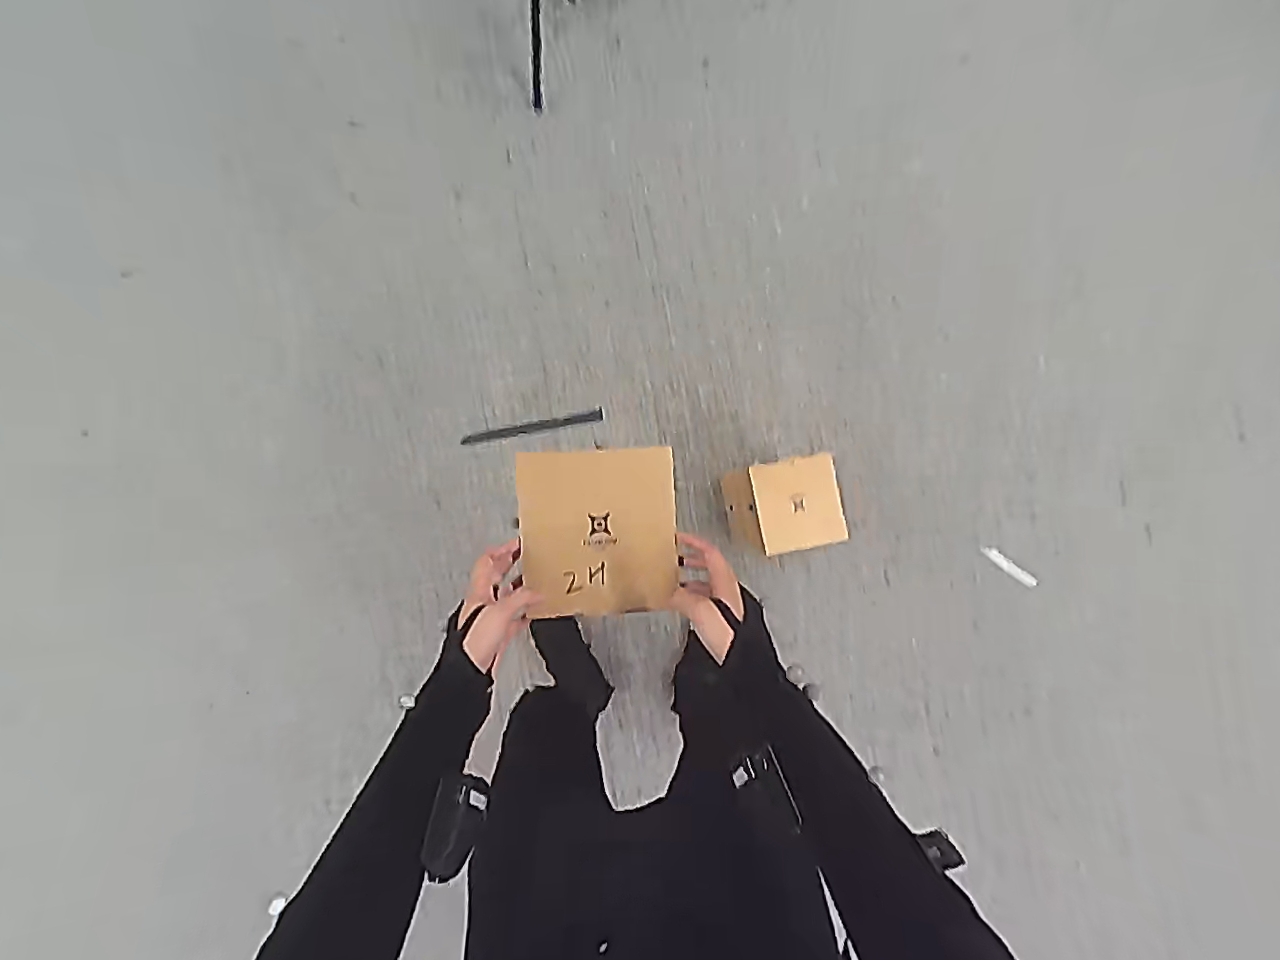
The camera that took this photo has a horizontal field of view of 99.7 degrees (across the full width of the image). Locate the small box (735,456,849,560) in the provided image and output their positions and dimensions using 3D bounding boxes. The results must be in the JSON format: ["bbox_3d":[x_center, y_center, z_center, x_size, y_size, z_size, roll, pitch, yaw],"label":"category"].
[{"bbox_3d":[0.304,0.056,1.112,0.168,0.176,0.179,-11,87,-2],"label":"small box"}]

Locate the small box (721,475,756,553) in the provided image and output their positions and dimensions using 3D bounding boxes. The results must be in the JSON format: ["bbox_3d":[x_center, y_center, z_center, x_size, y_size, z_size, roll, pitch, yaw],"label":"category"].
[{"bbox_3d":[0.297,0.064,1.274,0.168,0.176,0.179,-12,87,-2],"label":"small box"}]

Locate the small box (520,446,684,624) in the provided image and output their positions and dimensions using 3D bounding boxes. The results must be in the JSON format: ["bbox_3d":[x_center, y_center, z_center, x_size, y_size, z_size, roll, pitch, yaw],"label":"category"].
[{"bbox_3d":[-0.045,0.054,0.629,0.168,0.176,0.179,-3,92,-4],"label":"small box"}]
